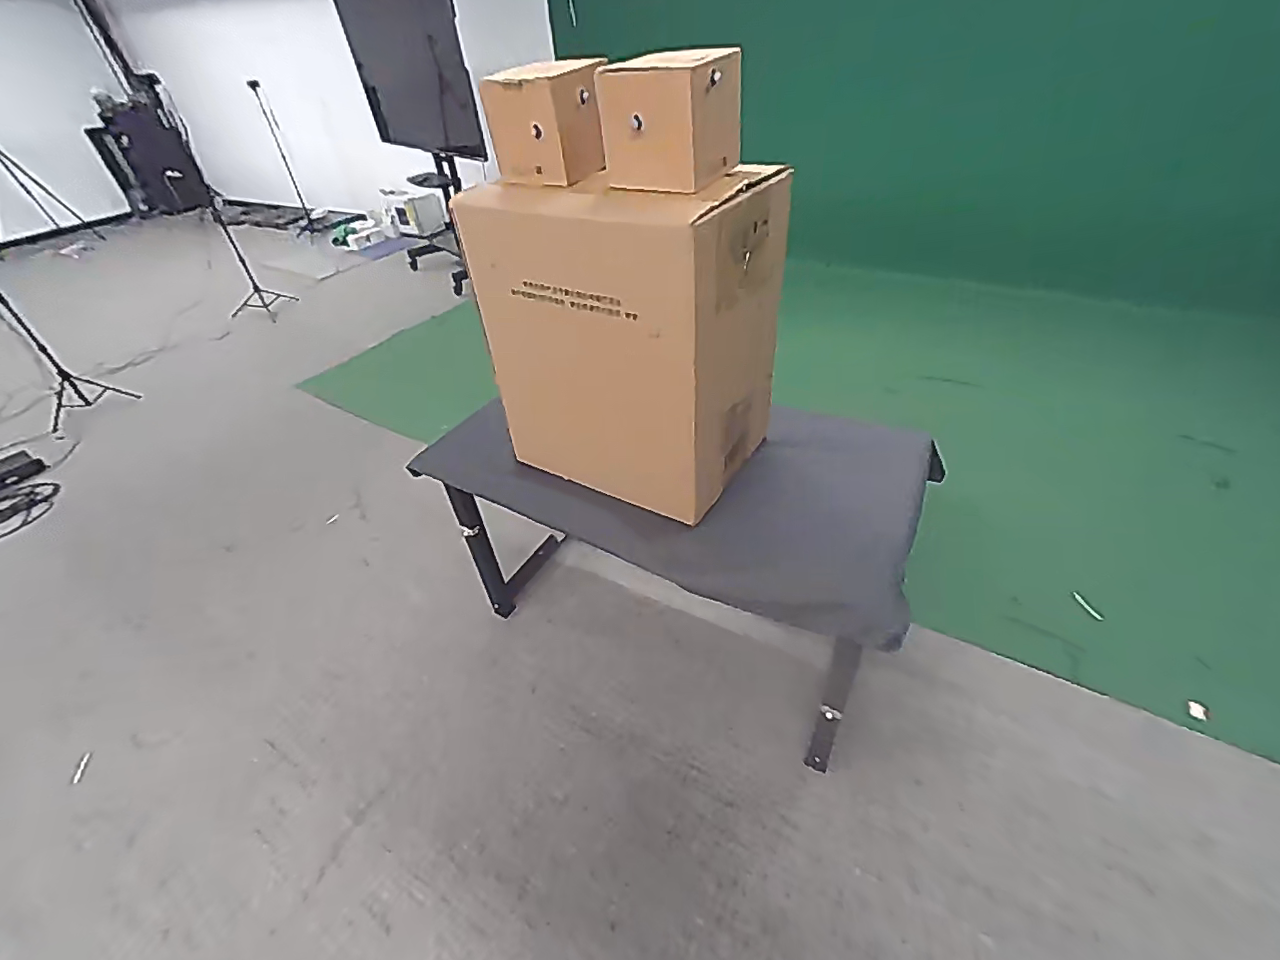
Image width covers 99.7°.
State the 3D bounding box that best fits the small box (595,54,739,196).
[{"bbox_3d":[0.052,-0.589,0.905,0.179,0.176,0.168,19,50,28],"label":"small box"}]

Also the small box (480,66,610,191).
[{"bbox_3d":[-0.164,-0.662,1.022,0.168,0.176,0.179,20,48,26],"label":"small box"}]
